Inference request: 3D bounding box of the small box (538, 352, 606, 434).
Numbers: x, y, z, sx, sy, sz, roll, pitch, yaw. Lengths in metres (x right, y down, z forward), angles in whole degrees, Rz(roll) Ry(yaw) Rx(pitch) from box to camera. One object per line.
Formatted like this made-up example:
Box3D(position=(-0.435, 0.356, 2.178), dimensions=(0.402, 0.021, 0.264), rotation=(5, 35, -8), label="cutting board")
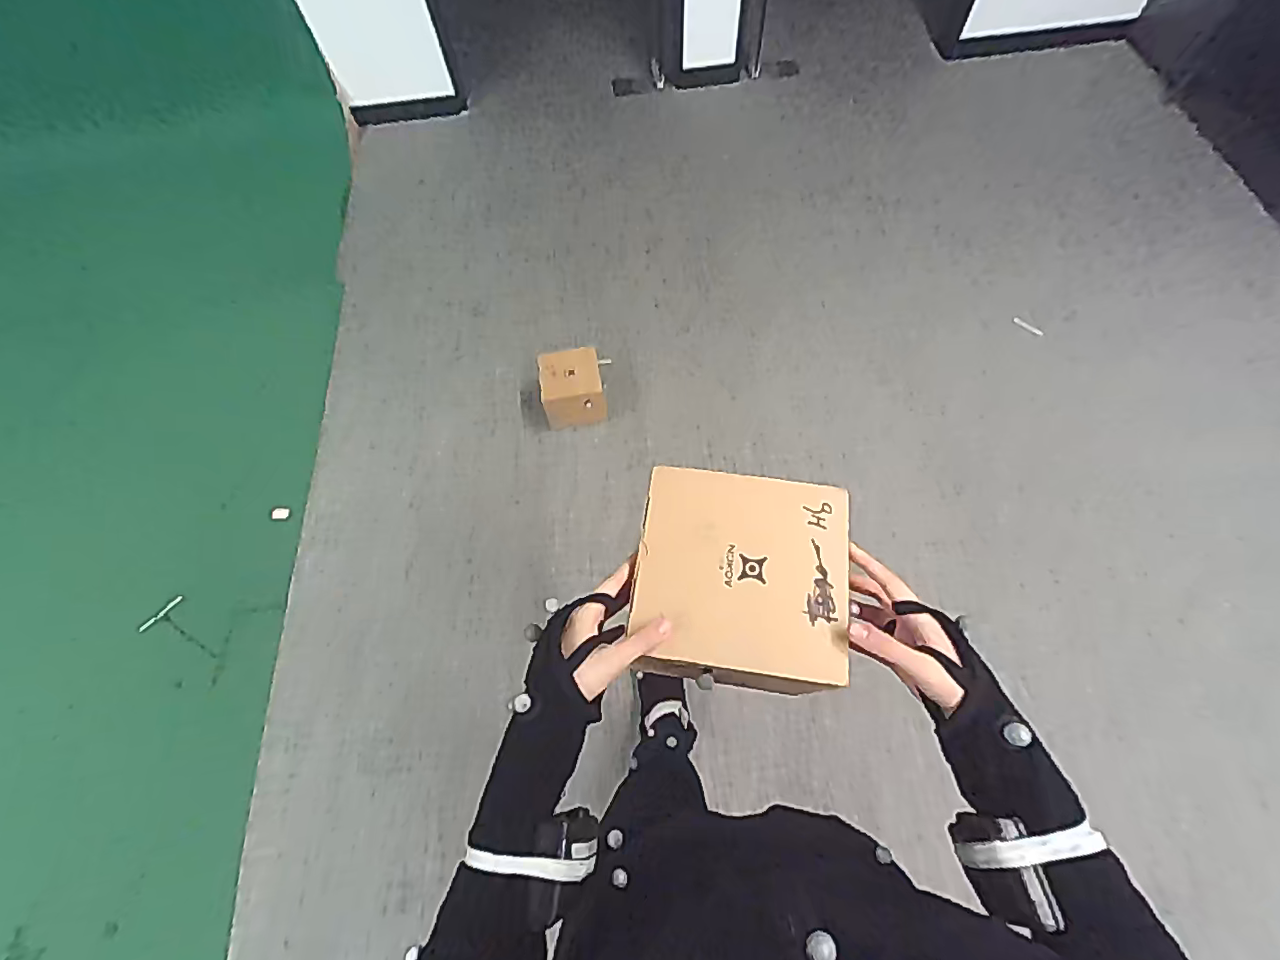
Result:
Box3D(position=(-0.202, -0.260, 1.643), dimensions=(0.179, 0.176, 0.168), rotation=(-10, 64, -1), label="small box")
